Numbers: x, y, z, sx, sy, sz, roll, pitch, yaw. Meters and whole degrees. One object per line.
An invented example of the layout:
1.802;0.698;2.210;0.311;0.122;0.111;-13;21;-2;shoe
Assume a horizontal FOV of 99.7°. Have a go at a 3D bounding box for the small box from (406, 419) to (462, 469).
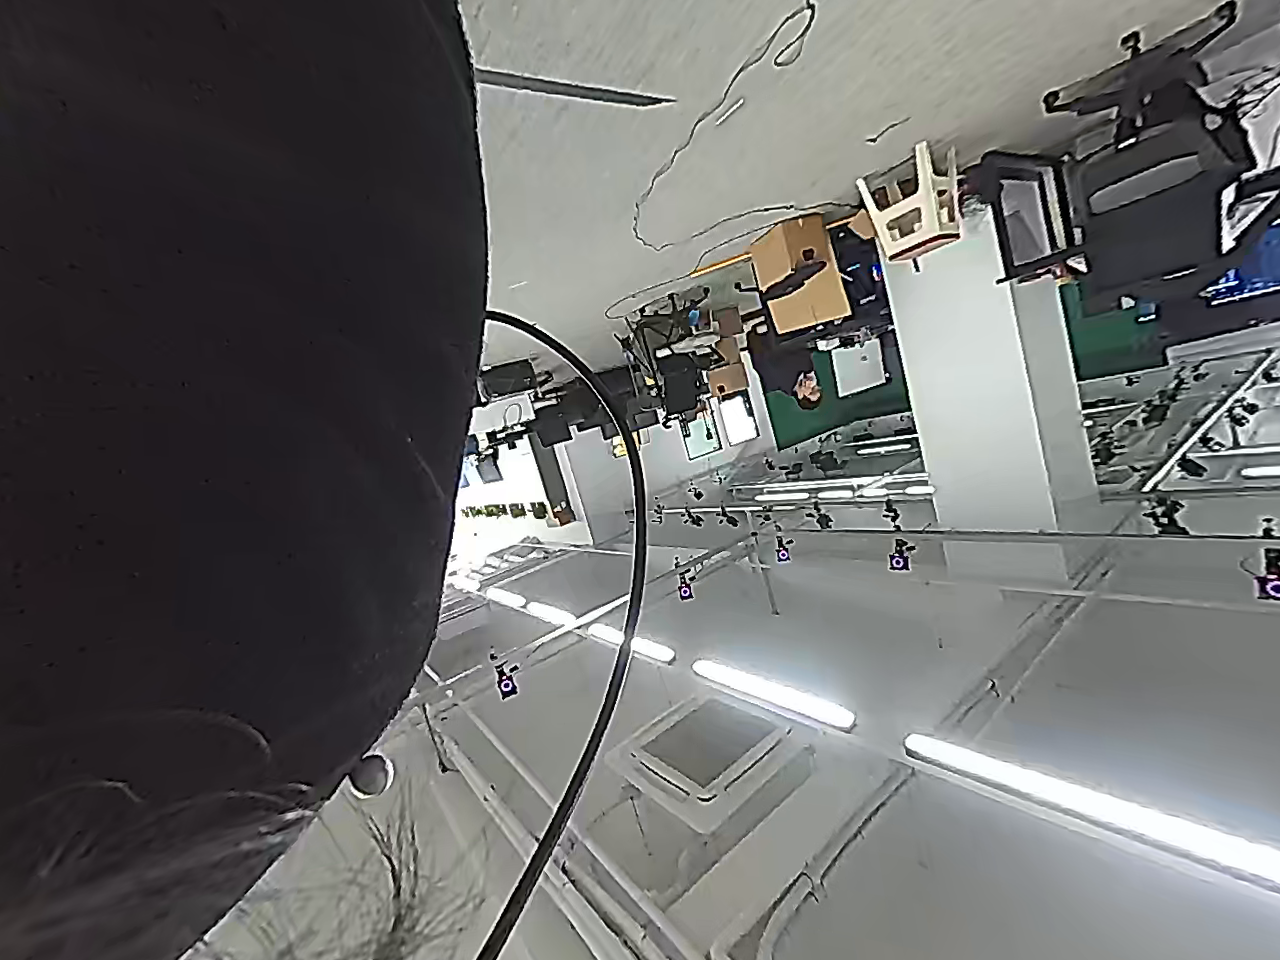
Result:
-0.871;-0.153;2.274;0.168;0.176;0.179;-19;-173;-31;small box
